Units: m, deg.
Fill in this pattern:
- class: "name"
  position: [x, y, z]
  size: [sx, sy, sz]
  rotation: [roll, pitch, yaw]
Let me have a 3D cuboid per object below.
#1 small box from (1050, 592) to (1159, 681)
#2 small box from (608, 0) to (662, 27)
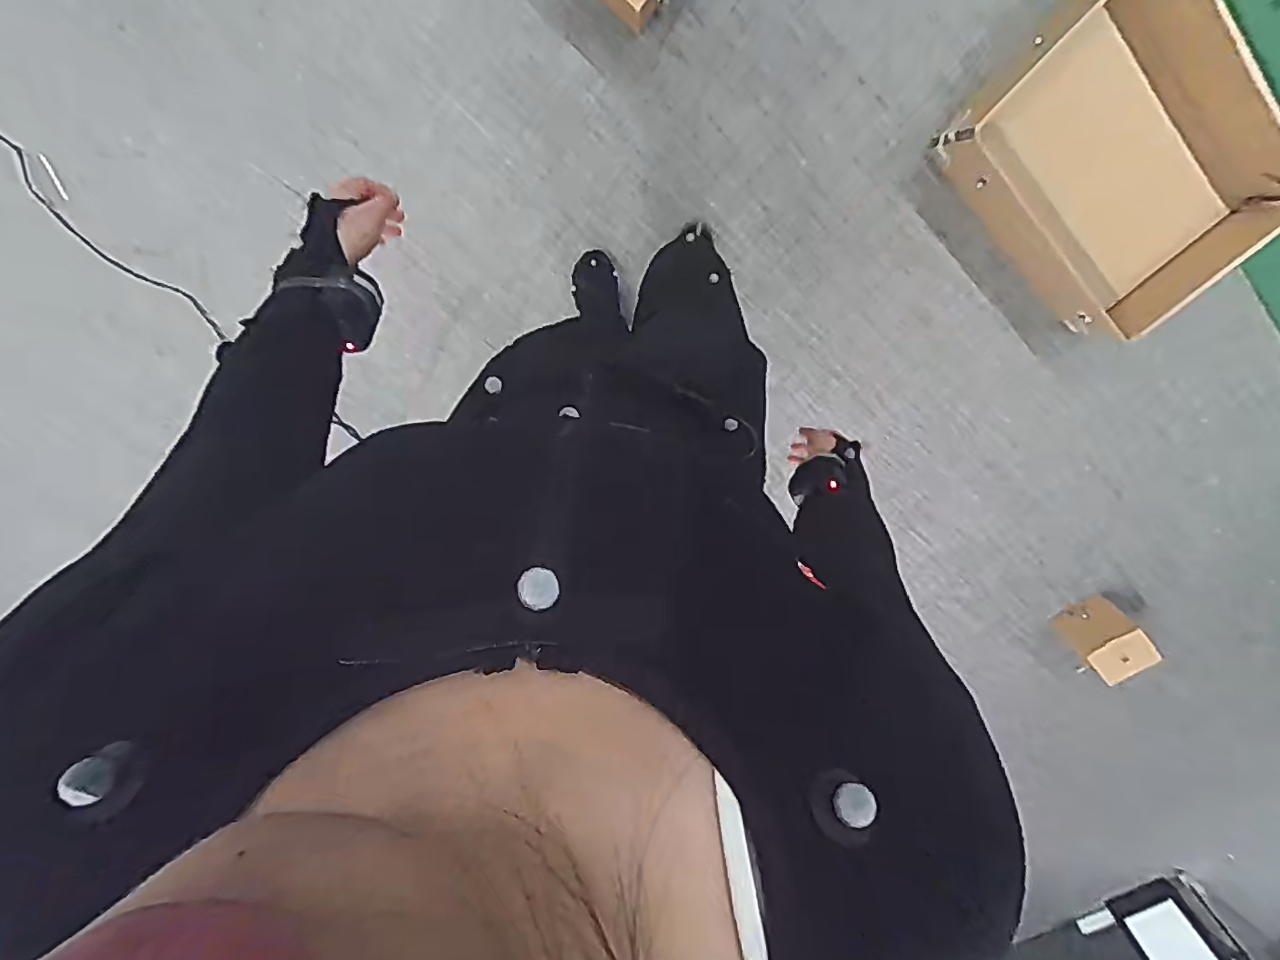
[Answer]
- class: "small box"
  position: [1.463, 0.491, 1.713]
  size: [0.168, 0.176, 0.179]
  rotation: [-41, 110, 18]
- class: "small box"
  position: [-0.017, -0.974, 0.975]
  size: [0.179, 0.176, 0.168]
  rotation: [36, 114, -18]
